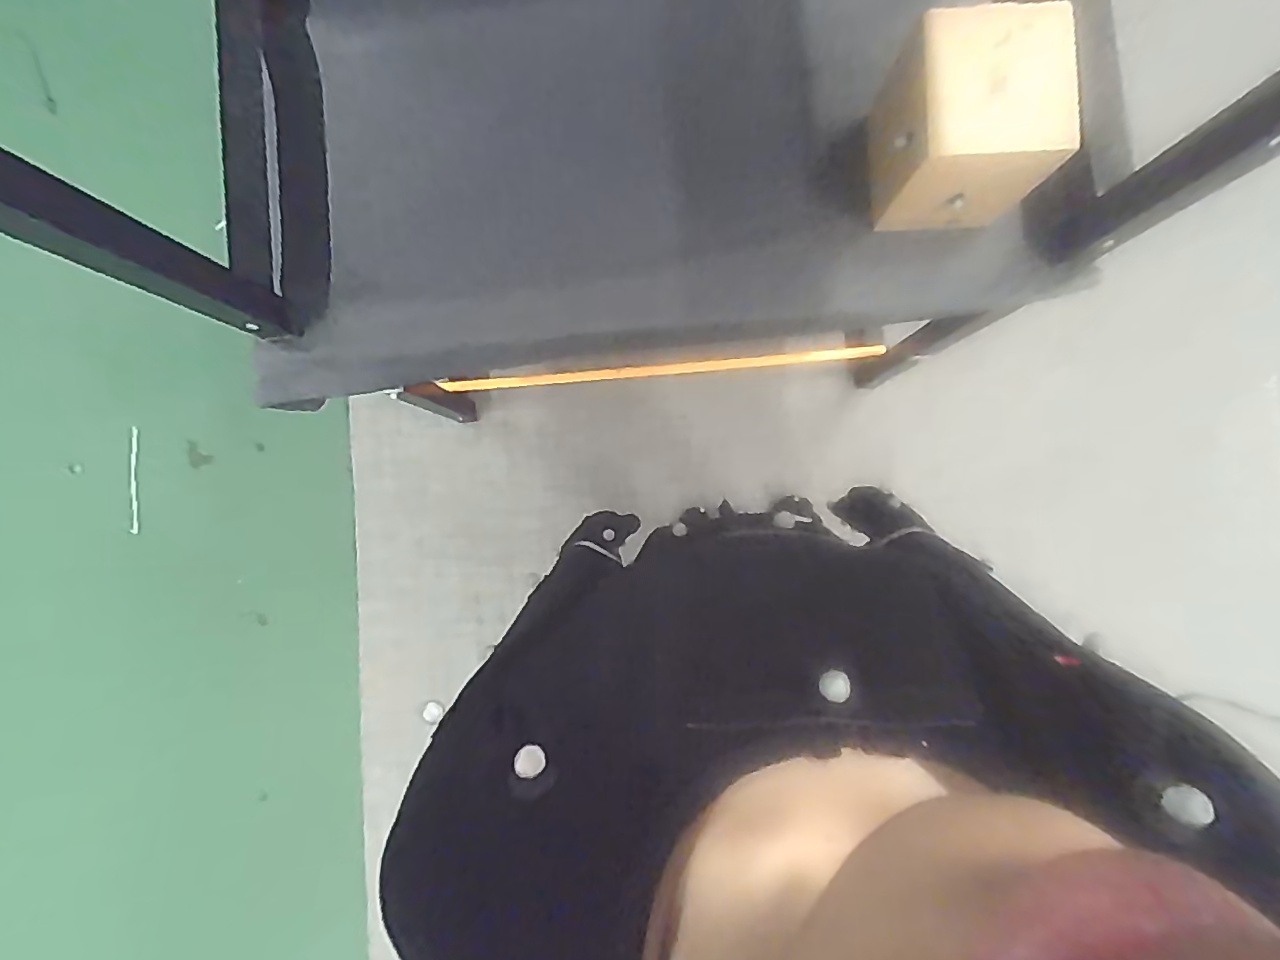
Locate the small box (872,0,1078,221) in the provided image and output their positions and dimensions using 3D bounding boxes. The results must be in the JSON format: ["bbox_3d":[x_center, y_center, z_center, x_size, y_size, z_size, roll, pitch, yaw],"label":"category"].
[{"bbox_3d":[0.407,-0.449,0.684,0.168,0.176,0.179,-1,87,2],"label":"small box"}]
